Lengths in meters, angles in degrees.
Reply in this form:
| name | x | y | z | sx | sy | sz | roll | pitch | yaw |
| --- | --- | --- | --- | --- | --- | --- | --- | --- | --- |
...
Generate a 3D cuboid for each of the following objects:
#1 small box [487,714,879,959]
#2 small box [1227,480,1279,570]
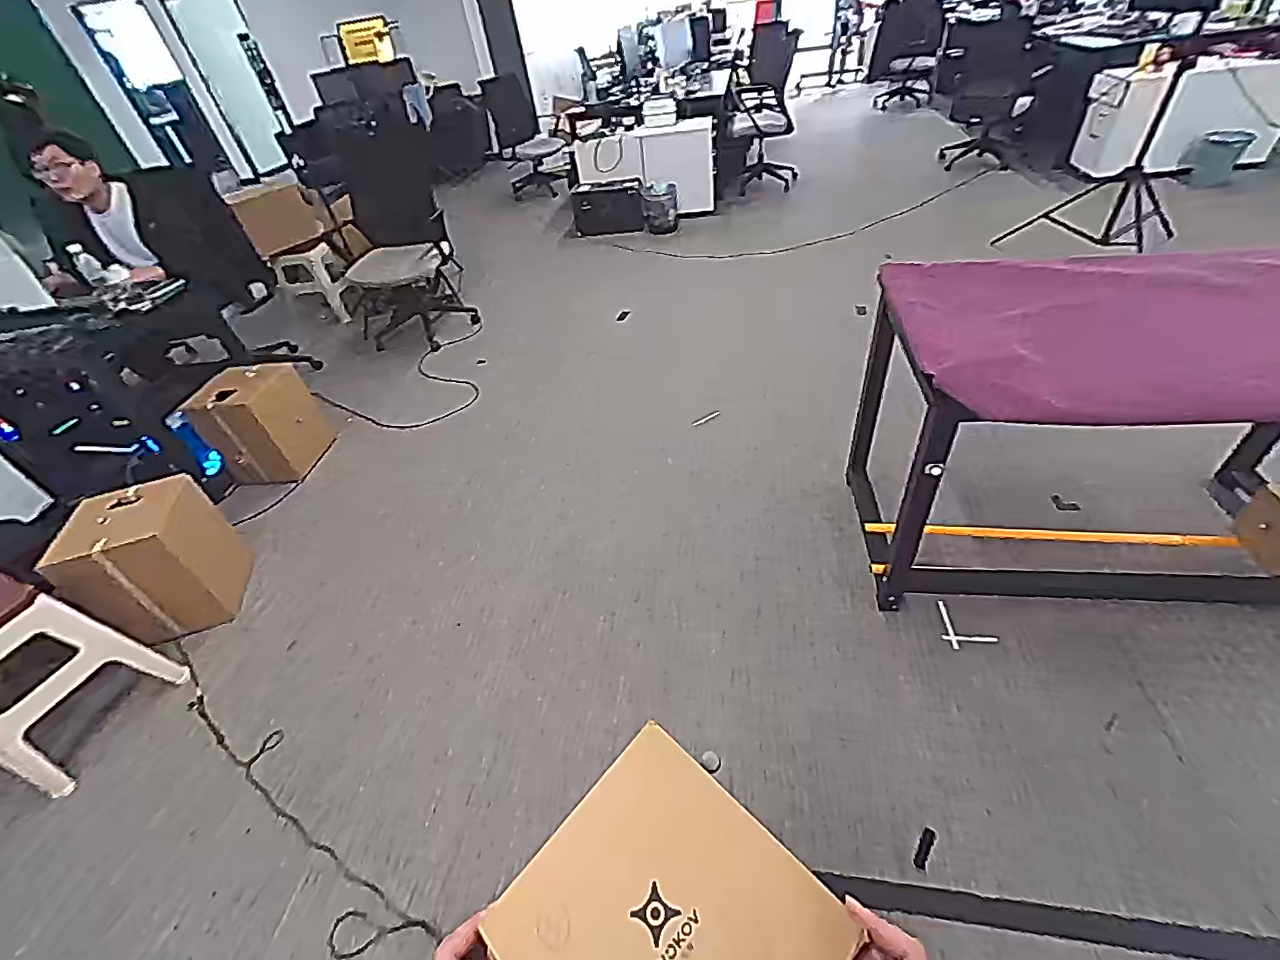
| name | x | y | z | sx | sy | sz | roll | pitch | yaw |
| --- | --- | --- | --- | --- | --- | --- | --- | --- | --- |
| small box | 0.031 | 0.307 | 0.381 | 0.179 | 0.176 | 0.168 | 35 | 67 | 30 |
| small box | 1.646 | 0.117 | 1.342 | 0.168 | 0.176 | 0.179 | -1 | 42 | 11 |
